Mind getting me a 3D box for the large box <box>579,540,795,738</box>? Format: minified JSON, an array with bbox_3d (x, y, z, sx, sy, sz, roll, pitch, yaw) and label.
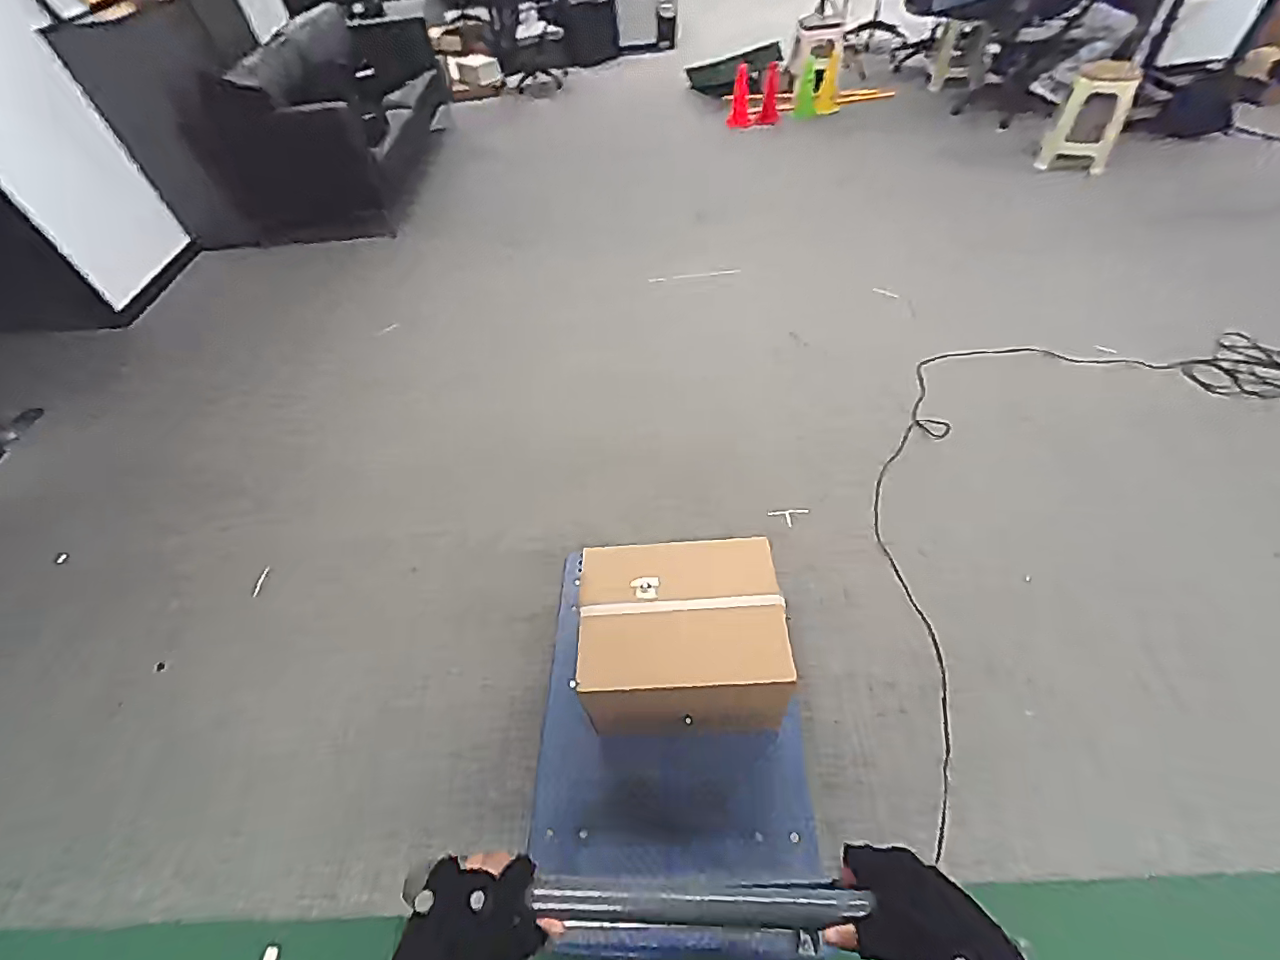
[{"bbox_3d":[0.095,0.358,1.193,0.408,0.320,0.320,-4,49,3],"label":"large box"}]
